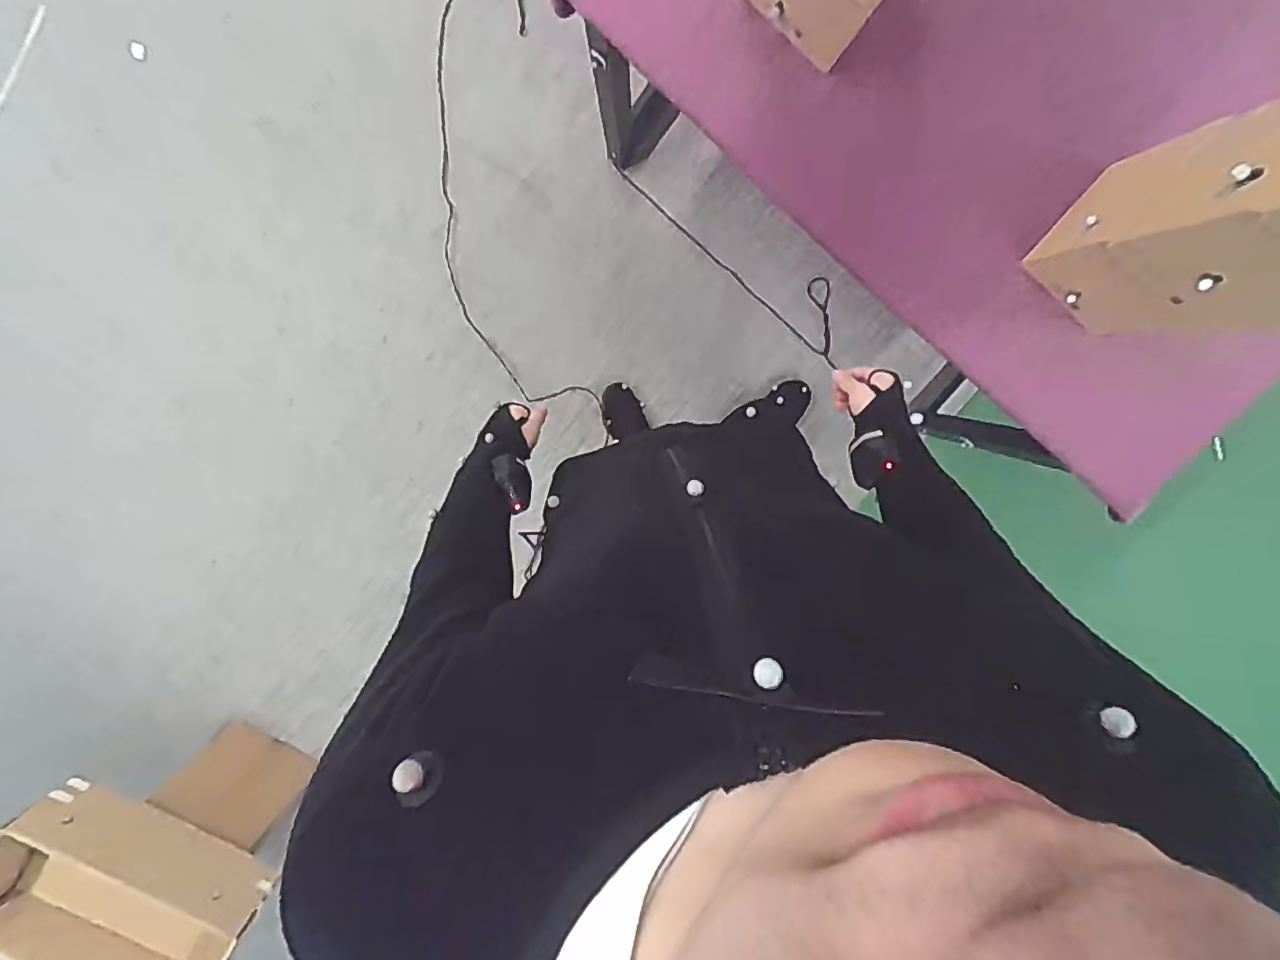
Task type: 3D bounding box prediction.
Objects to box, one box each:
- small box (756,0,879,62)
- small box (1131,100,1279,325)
[{"bbox_3d":[0.246,-0.668,0.644,0.168,0.176,0.179,38,101,-8],"label":"small box"},{"bbox_3d":[0.677,-0.280,0.562,0.168,0.176,0.179,39,100,-8],"label":"small box"}]
